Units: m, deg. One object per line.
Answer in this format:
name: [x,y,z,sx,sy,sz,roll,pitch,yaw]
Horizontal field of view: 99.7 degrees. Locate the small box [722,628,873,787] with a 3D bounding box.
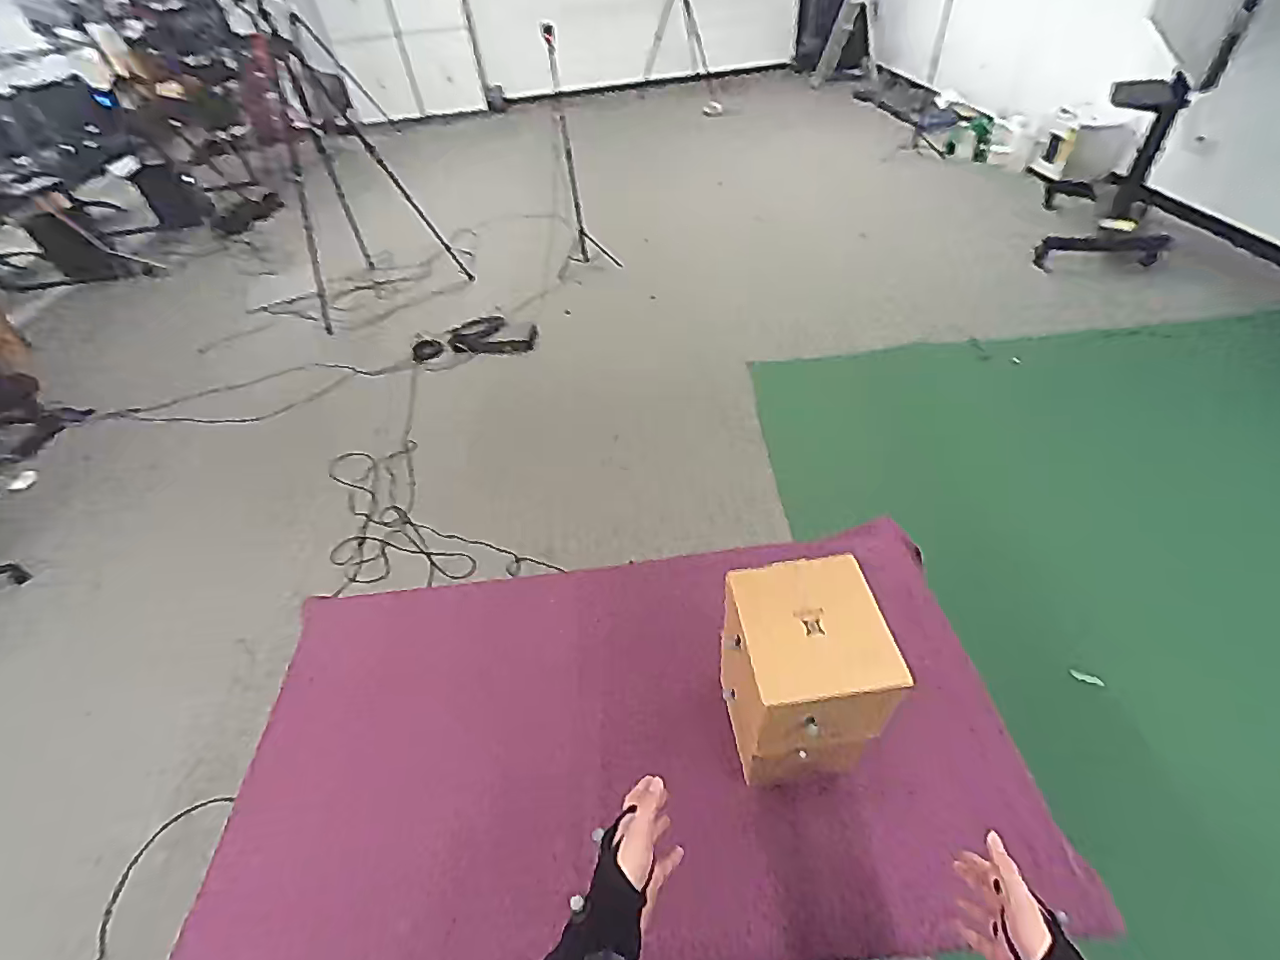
small box: [0.220,0.327,0.804,0.168,0.176,0.179,-9,45,-1]

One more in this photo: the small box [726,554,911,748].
small box: [0.207,0.221,0.682,0.168,0.176,0.179,-8,46,0]
